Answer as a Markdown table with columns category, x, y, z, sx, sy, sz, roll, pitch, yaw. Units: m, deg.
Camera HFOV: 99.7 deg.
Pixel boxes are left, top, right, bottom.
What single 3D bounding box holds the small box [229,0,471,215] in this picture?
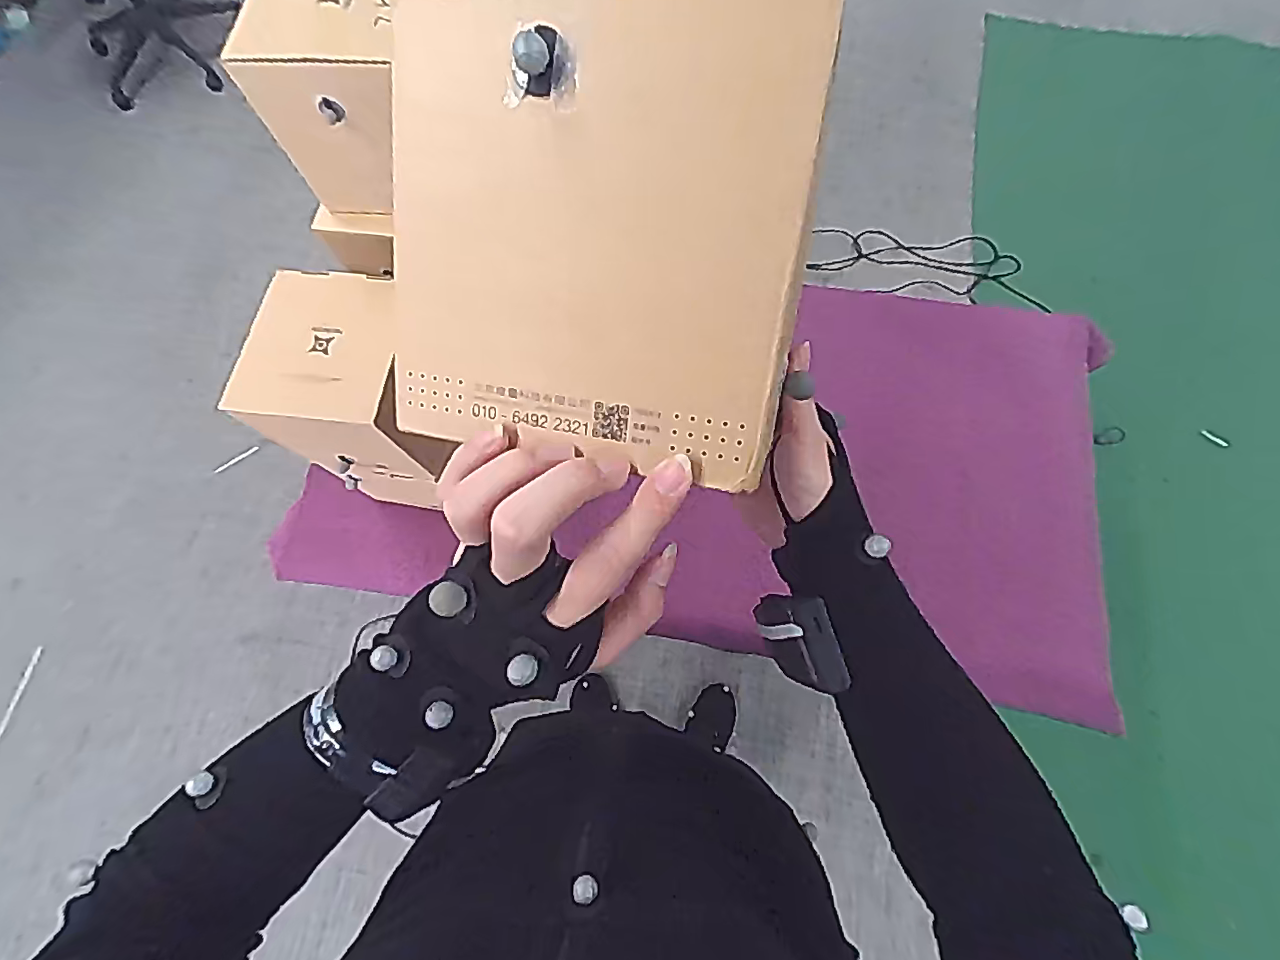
| category | x | y | z | sx | sy | sz | roll | pitch | yaw |
| --- | --- | --- | --- | --- | --- | --- | --- | --- | --- |
| small box | -0.264 | -0.404 | 0.566 | 0.179 | 0.176 | 0.168 | 4 | 72 | 2 |

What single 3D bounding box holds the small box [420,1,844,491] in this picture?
| category | x | y | z | sx | sy | sz | roll | pitch | yaw |
| --- | --- | --- | --- | --- | --- | --- | --- | --- | --- |
| small box | 0.002 | -0.105 | 0.289 | 0.168 | 0.179 | 0.176 | 11 | 106 | 14 |

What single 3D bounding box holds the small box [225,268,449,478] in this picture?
| category | x | y | z | sx | sy | sz | roll | pitch | yaw |
| --- | --- | --- | --- | --- | --- | --- | --- | --- | --- |
| small box | -0.328 | -0.119 | 0.644 | 0.168 | 0.176 | 0.179 | 7 | 71 | 4 |

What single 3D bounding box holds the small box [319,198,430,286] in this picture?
| category | x | y | z | sx | sy | sz | roll | pitch | yaw |
| --- | --- | --- | --- | --- | --- | --- | --- | --- | --- |
| small box | -0.276 | -0.329 | 0.715 | 0.168 | 0.176 | 0.179 | 7 | 71 | 3 |
